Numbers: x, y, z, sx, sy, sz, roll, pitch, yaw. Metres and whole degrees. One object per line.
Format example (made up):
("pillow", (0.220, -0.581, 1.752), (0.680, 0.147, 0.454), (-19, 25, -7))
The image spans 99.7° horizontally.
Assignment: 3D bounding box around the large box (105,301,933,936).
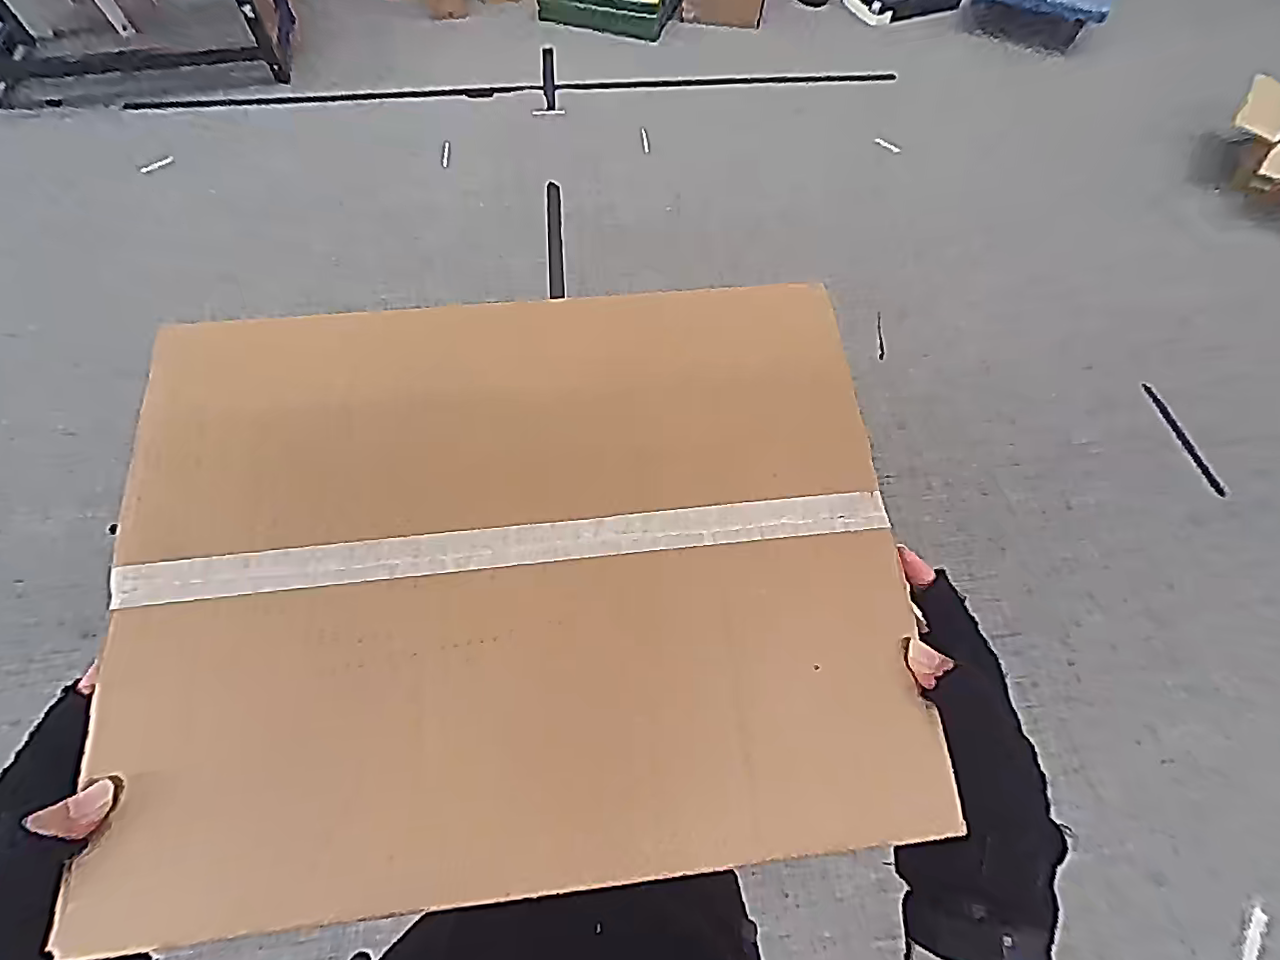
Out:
("large box", (-0.070, 0.090, 0.445), (0.408, 0.320, 0.320), (-5, 73, -4))
